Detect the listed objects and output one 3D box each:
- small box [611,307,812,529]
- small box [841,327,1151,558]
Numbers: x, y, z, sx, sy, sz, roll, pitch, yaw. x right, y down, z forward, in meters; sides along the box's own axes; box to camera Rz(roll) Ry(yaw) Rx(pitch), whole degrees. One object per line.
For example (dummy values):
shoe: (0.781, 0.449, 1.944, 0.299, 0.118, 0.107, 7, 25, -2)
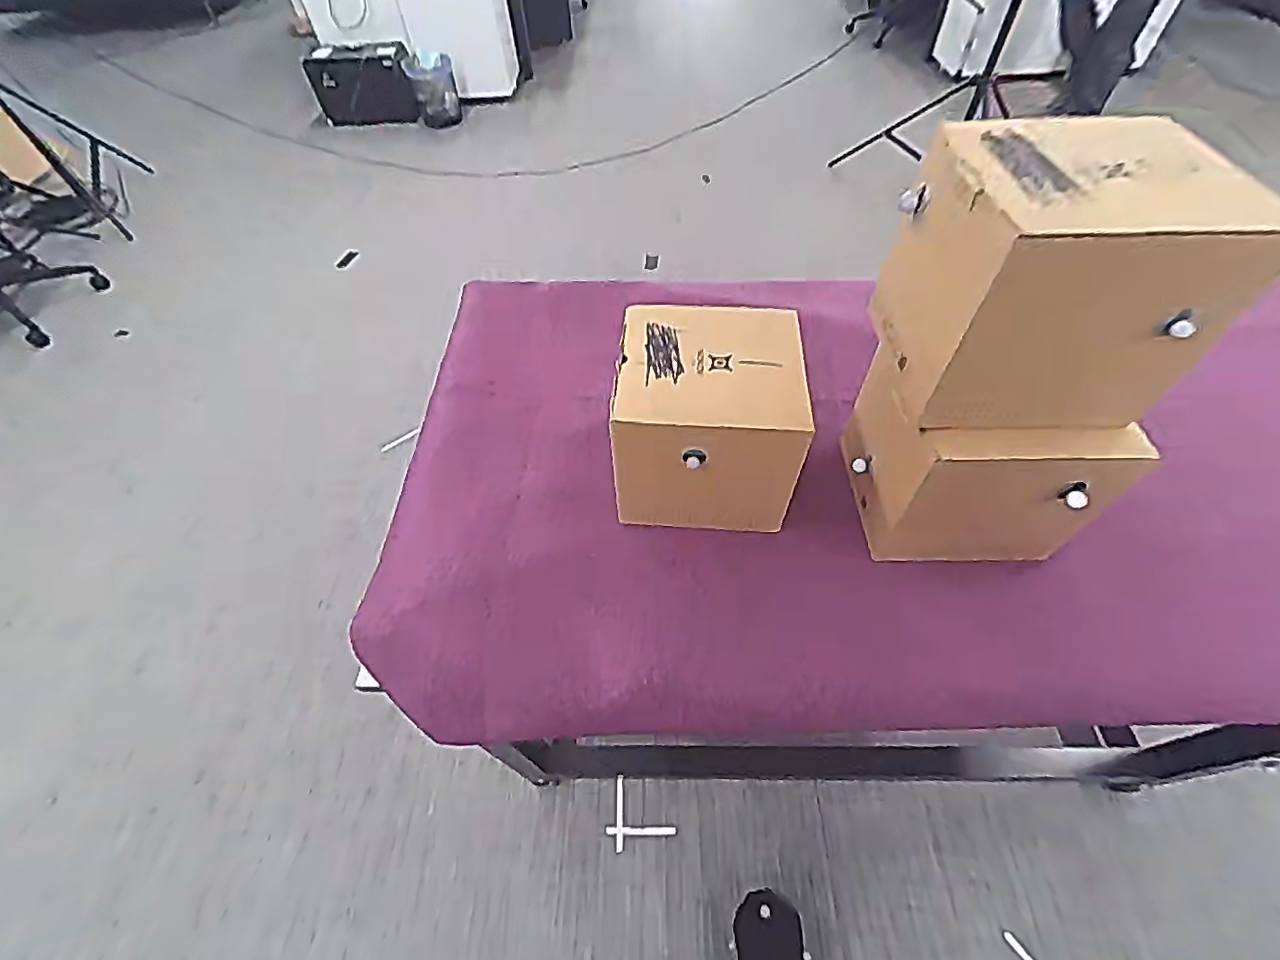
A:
small box: (0.069, -0.062, 0.575, 0.179, 0.176, 0.168, 4, 53, 3)
small box: (0.325, -0.033, 0.543, 0.179, 0.176, 0.168, 0, 52, 2)
